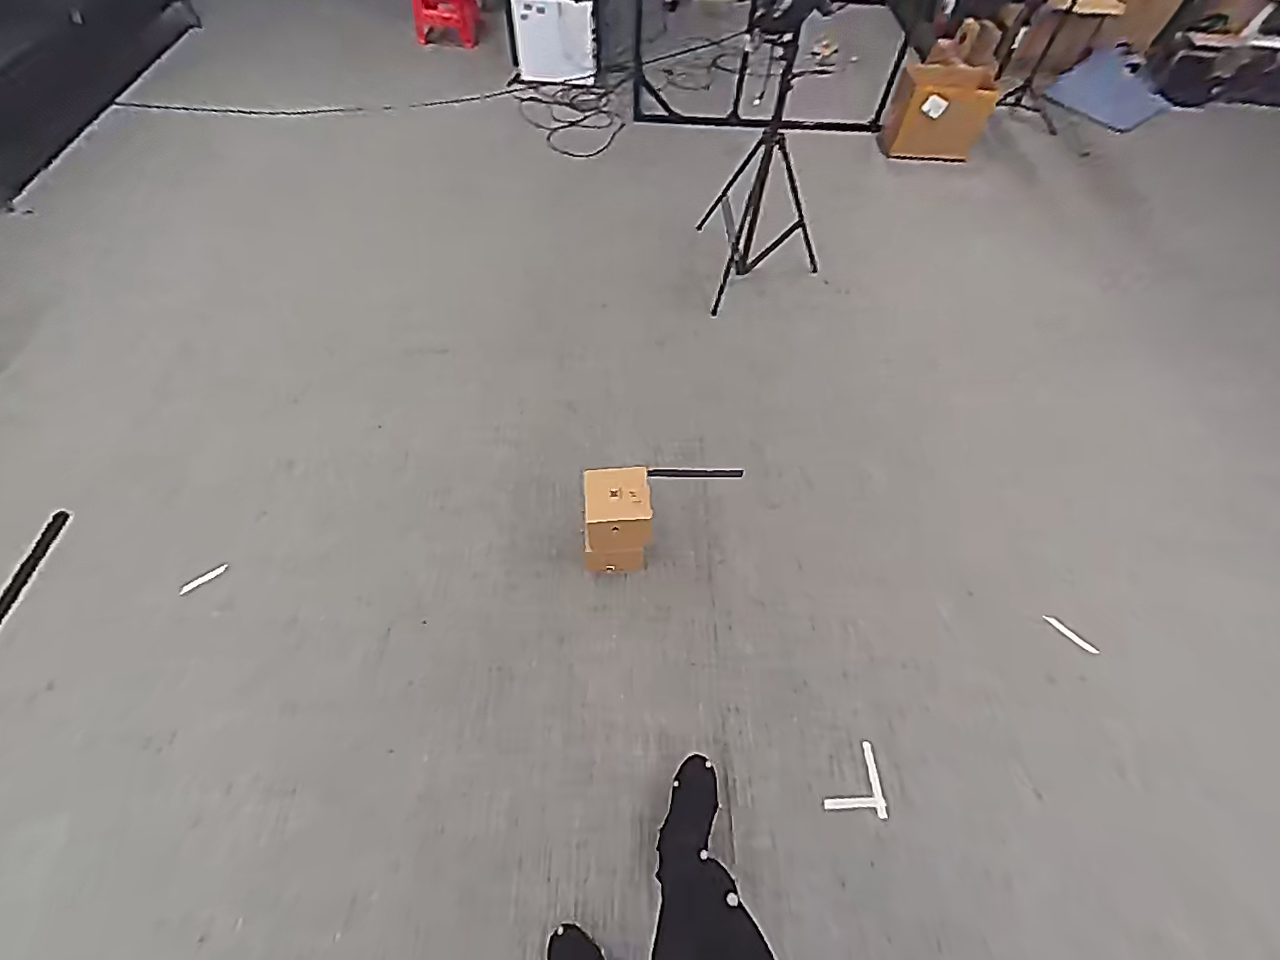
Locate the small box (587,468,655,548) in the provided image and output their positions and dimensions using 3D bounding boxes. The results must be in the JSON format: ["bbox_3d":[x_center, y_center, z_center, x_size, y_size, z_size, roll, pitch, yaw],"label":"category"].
[{"bbox_3d":[-0.053,0.083,1.512,0.179,0.176,0.168,-3,58,-3],"label":"small box"}]

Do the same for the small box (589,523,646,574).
[{"bbox_3d":[-0.070,0.172,1.649,0.168,0.176,0.179,-2,59,-3],"label":"small box"}]
